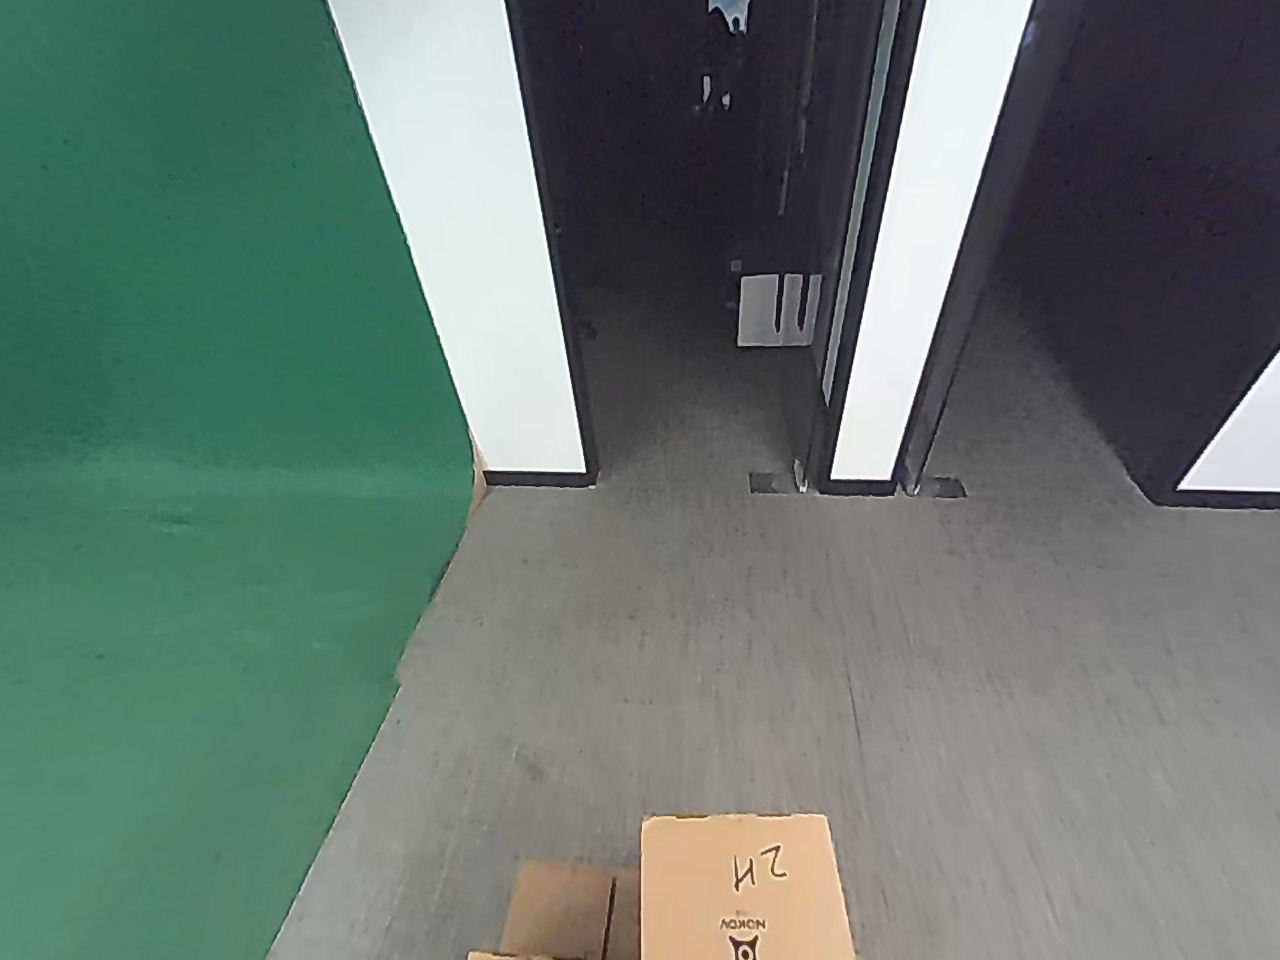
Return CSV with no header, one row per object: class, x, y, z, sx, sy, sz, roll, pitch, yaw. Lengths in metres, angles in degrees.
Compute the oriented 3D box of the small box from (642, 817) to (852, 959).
small box,0.090,0.422,0.485,0.168,0.176,0.179,-3,46,4
